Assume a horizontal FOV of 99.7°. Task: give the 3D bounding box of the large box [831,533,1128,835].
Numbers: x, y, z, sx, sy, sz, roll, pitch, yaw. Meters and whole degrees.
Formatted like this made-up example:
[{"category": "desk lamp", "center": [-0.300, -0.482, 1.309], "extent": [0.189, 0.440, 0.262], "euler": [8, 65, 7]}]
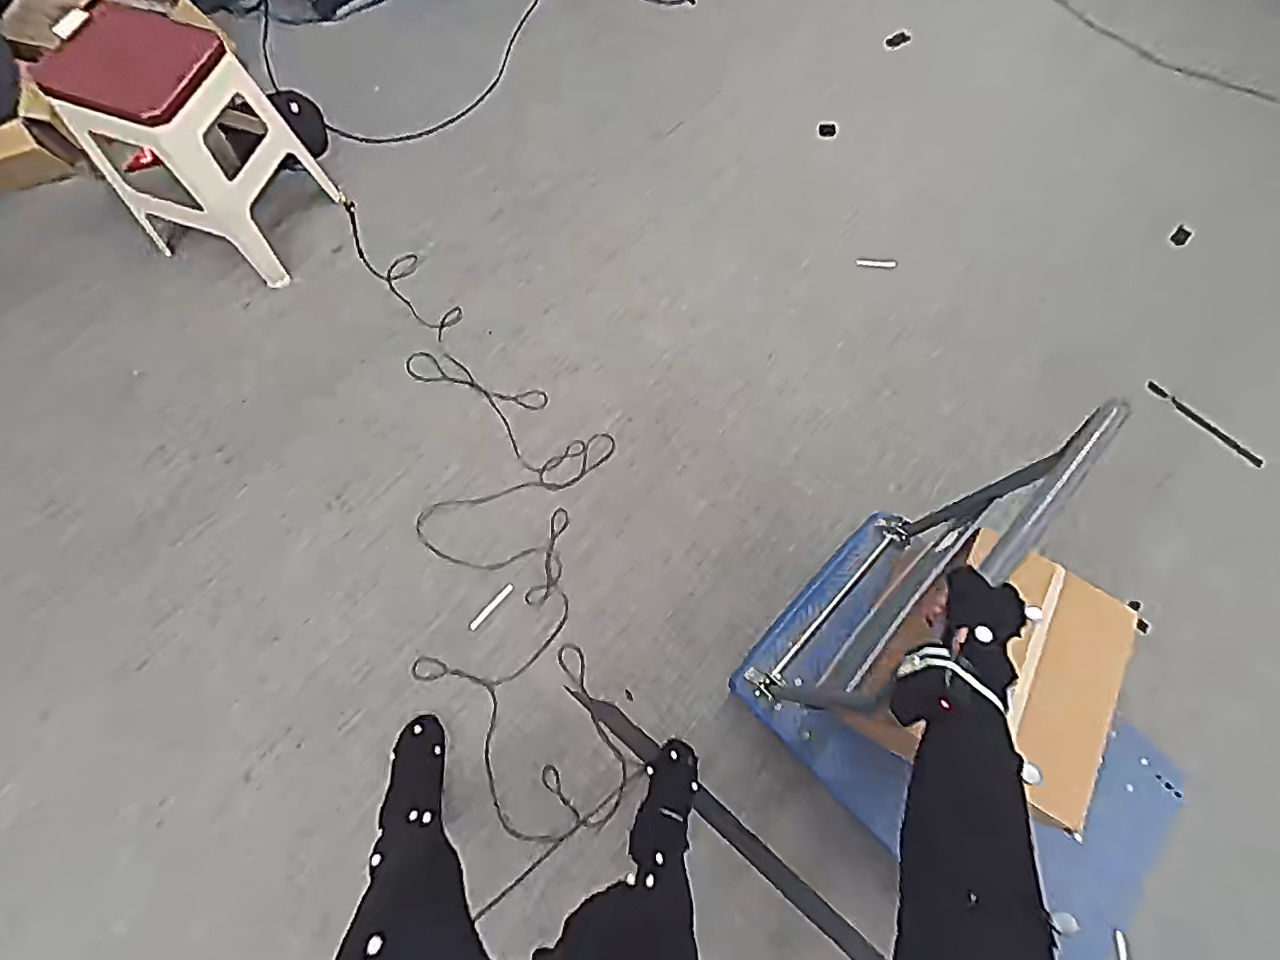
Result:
[{"category": "large box", "center": [0.645, 0.373, 1.071], "extent": [0.320, 0.320, 0.408], "euler": [30, 72, 6]}]
